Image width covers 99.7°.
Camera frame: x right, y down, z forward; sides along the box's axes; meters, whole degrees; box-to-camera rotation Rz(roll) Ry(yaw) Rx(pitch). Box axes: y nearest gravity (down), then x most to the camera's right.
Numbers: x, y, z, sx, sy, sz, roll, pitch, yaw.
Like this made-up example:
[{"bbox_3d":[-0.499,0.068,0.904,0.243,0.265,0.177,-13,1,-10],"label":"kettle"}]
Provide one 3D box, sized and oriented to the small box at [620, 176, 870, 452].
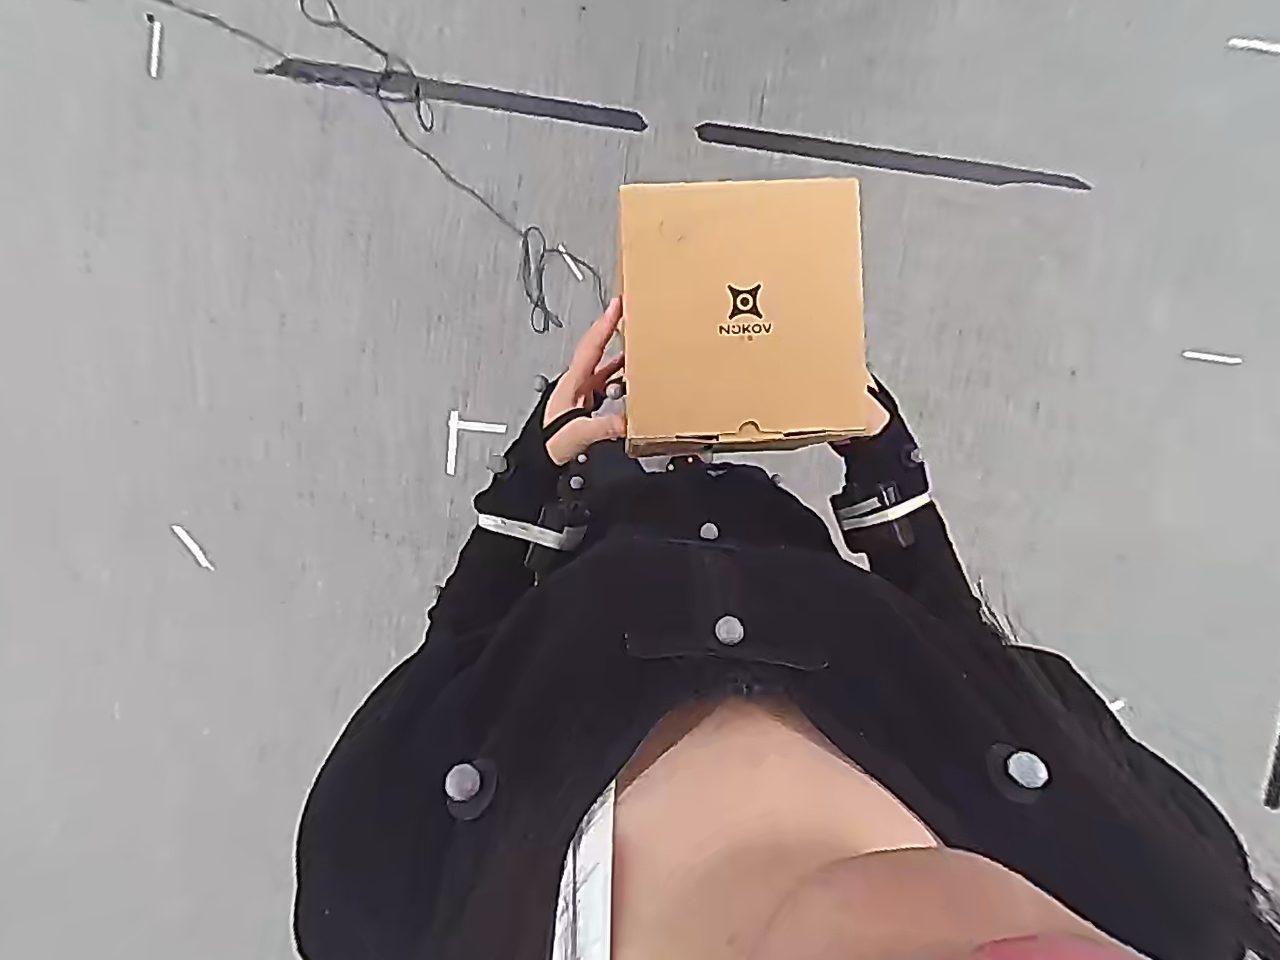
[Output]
[{"bbox_3d":[0.069,-0.118,0.445,0.168,0.176,0.179,-3,90,-2],"label":"small box"}]
